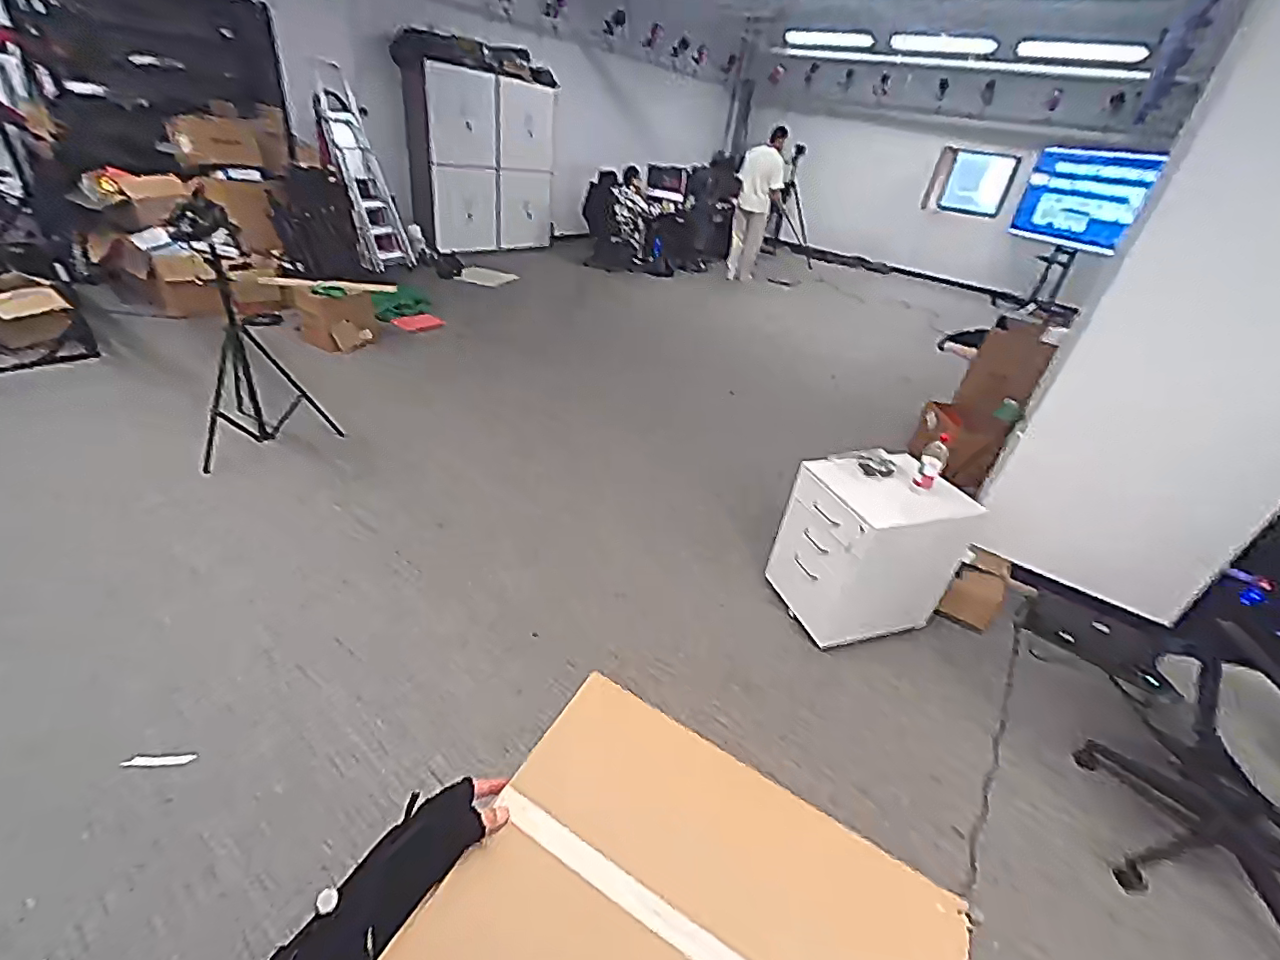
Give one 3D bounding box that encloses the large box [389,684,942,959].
[{"bbox_3d":[0.013,0.496,0.537,0.408,0.320,0.320,26,40,17],"label":"large box"}]
